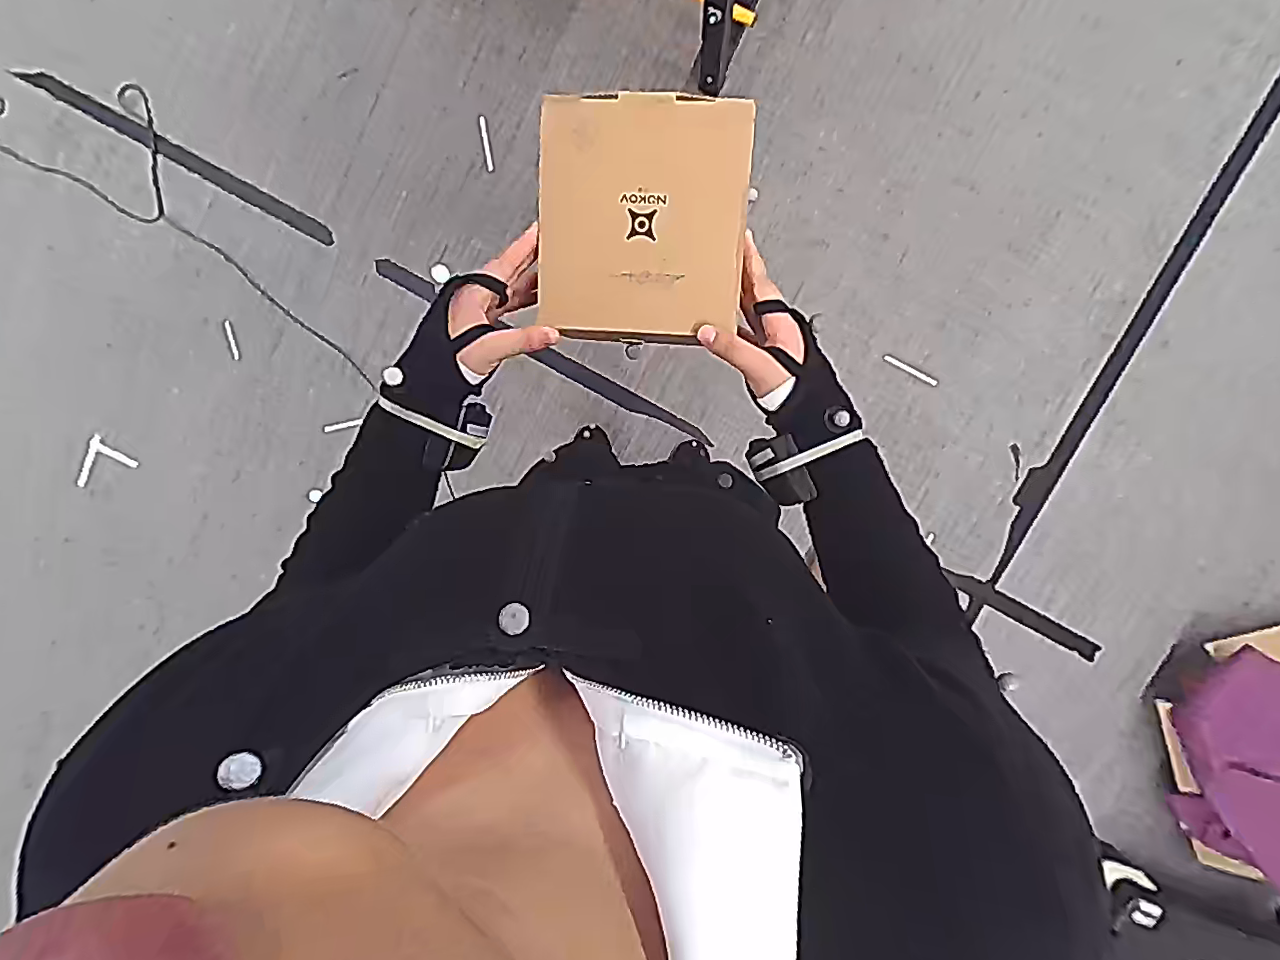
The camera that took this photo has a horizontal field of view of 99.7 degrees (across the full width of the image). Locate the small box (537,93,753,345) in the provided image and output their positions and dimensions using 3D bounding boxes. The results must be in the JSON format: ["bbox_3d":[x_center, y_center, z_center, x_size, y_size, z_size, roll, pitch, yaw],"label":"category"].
[{"bbox_3d":[0.004,-0.225,0.509,0.168,0.176,0.179,4,102,3],"label":"small box"}]
